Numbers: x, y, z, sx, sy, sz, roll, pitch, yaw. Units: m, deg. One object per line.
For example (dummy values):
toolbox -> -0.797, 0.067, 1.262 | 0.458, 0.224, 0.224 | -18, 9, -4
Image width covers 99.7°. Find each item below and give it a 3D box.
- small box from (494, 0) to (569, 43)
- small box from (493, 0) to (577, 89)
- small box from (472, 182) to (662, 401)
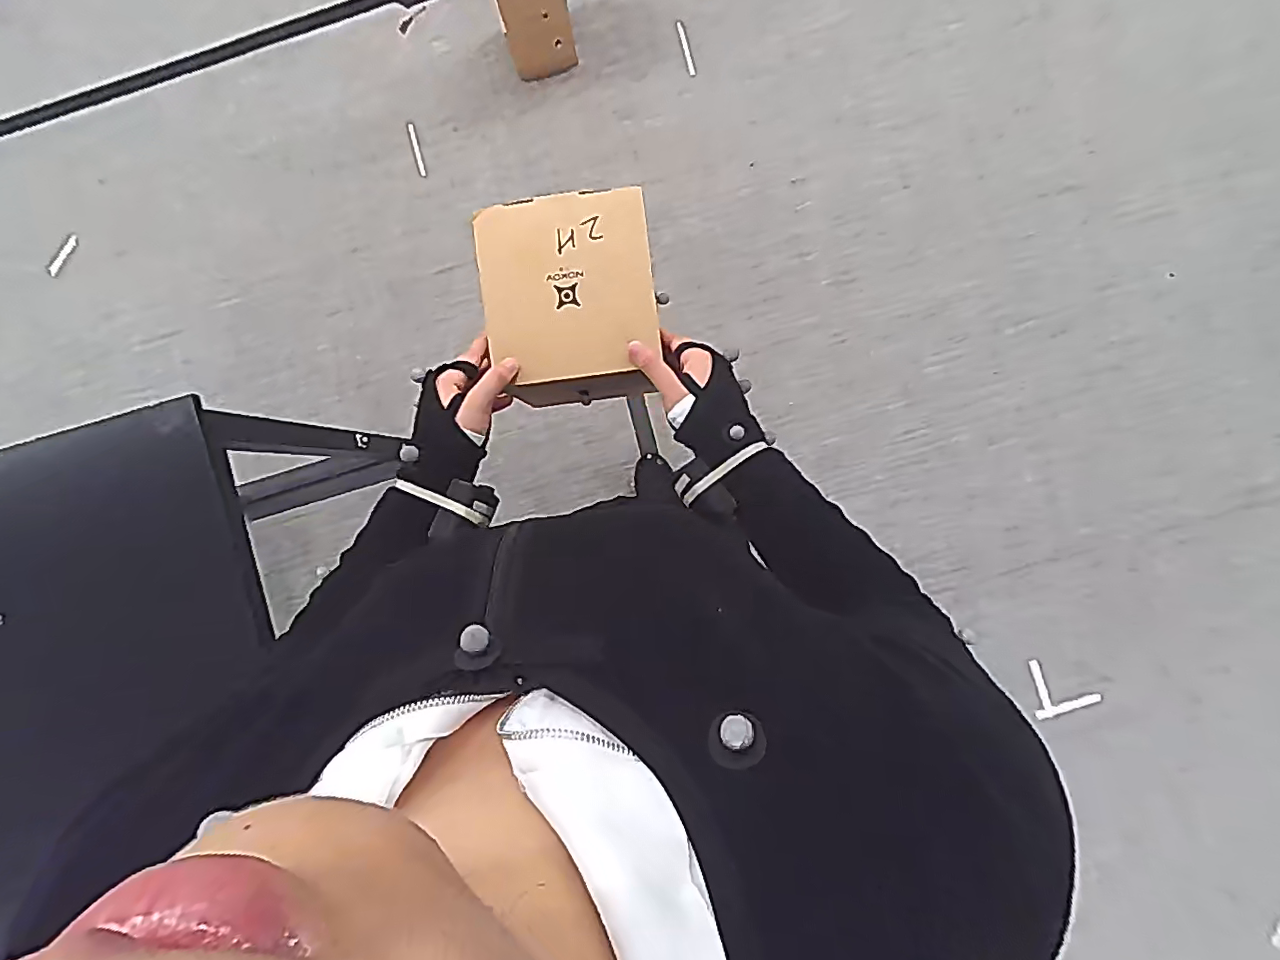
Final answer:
small box -> -0.280, -1.202, 1.281 | 0.168, 0.176, 0.179 | -18, 87, 2
small box -> -0.275, -1.201, 1.445 | 0.179, 0.176, 0.168 | -16, 88, 3
small box -> -0.066, -0.186, 0.592 | 0.168, 0.176, 0.179 | -7, 90, 2
